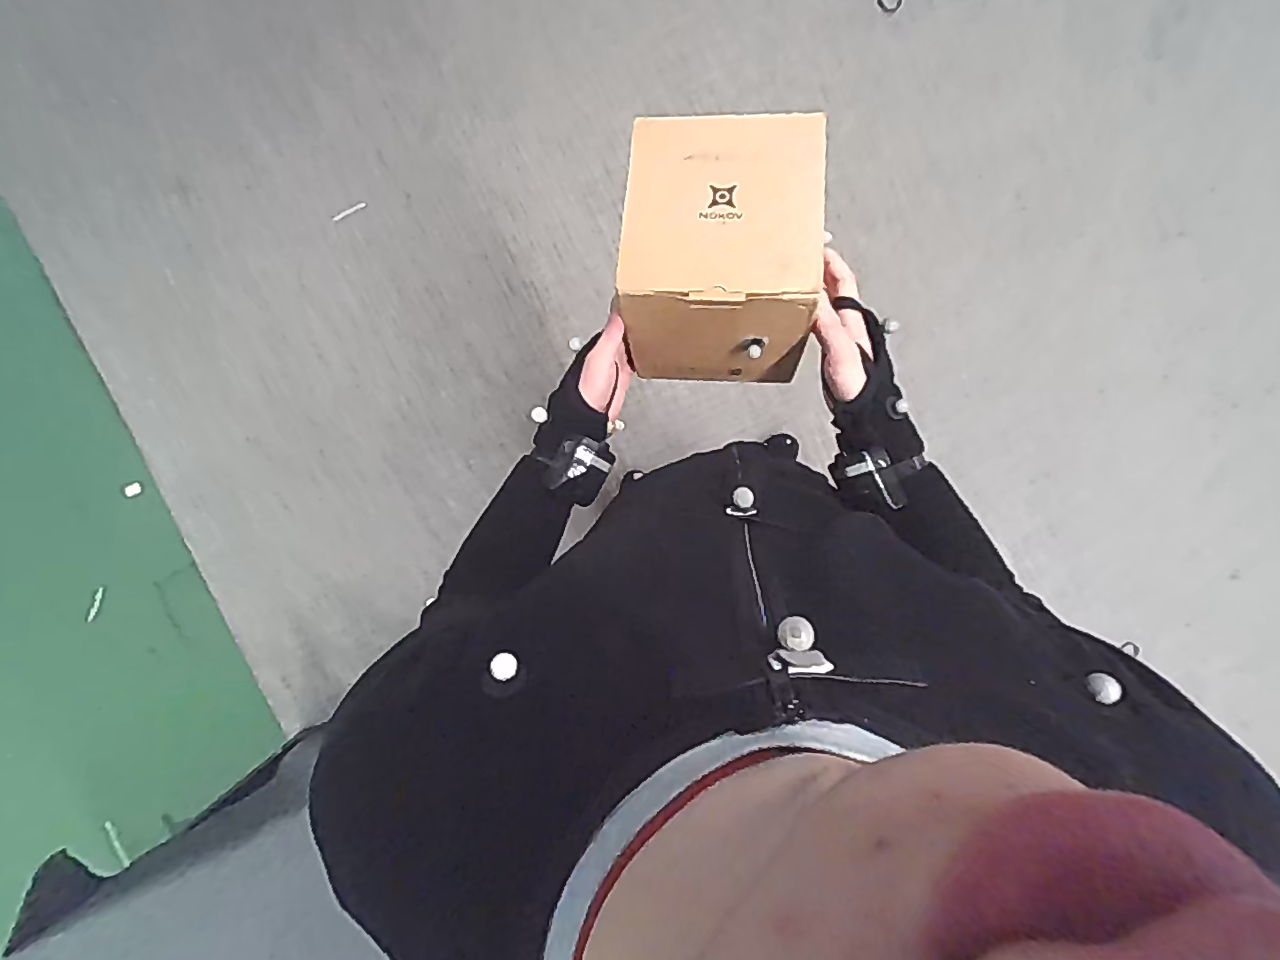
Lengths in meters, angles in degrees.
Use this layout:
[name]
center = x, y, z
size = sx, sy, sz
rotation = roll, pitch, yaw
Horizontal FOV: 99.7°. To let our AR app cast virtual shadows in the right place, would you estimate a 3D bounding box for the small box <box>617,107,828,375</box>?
[small box]
center = 0.077, -0.214, 0.520
size = 0.168, 0.176, 0.179
rotation = 3, 76, 6
